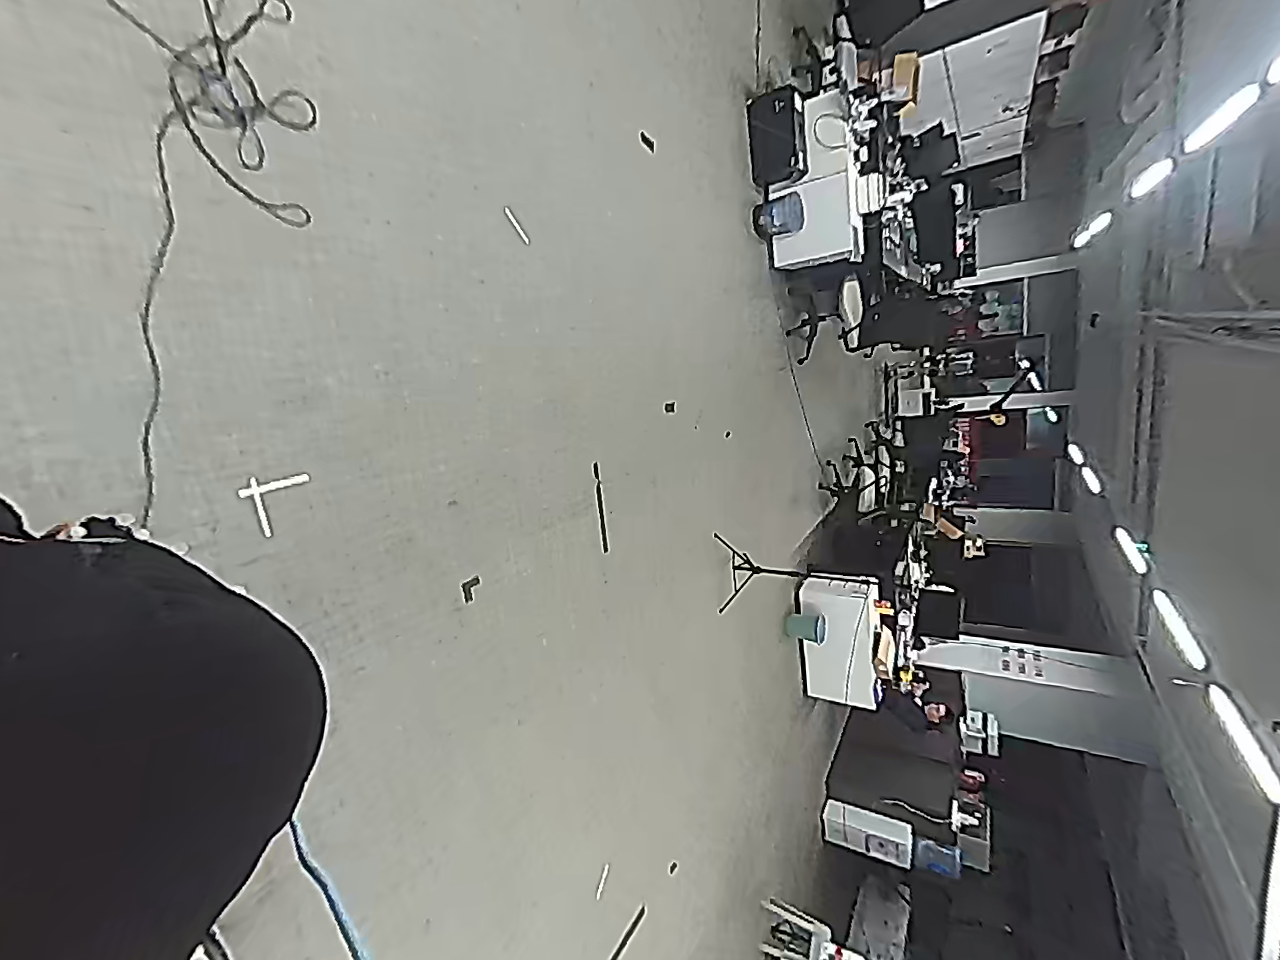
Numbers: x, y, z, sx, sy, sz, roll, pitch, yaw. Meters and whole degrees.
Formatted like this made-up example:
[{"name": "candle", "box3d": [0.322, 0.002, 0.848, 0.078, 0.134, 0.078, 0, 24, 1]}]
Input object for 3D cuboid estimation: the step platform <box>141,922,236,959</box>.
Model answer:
[{"name": "step platform", "box3d": [-1.003, 1.088, 0.830, 0.684, 0.204, 0.286, -15, 101, -54]}]
